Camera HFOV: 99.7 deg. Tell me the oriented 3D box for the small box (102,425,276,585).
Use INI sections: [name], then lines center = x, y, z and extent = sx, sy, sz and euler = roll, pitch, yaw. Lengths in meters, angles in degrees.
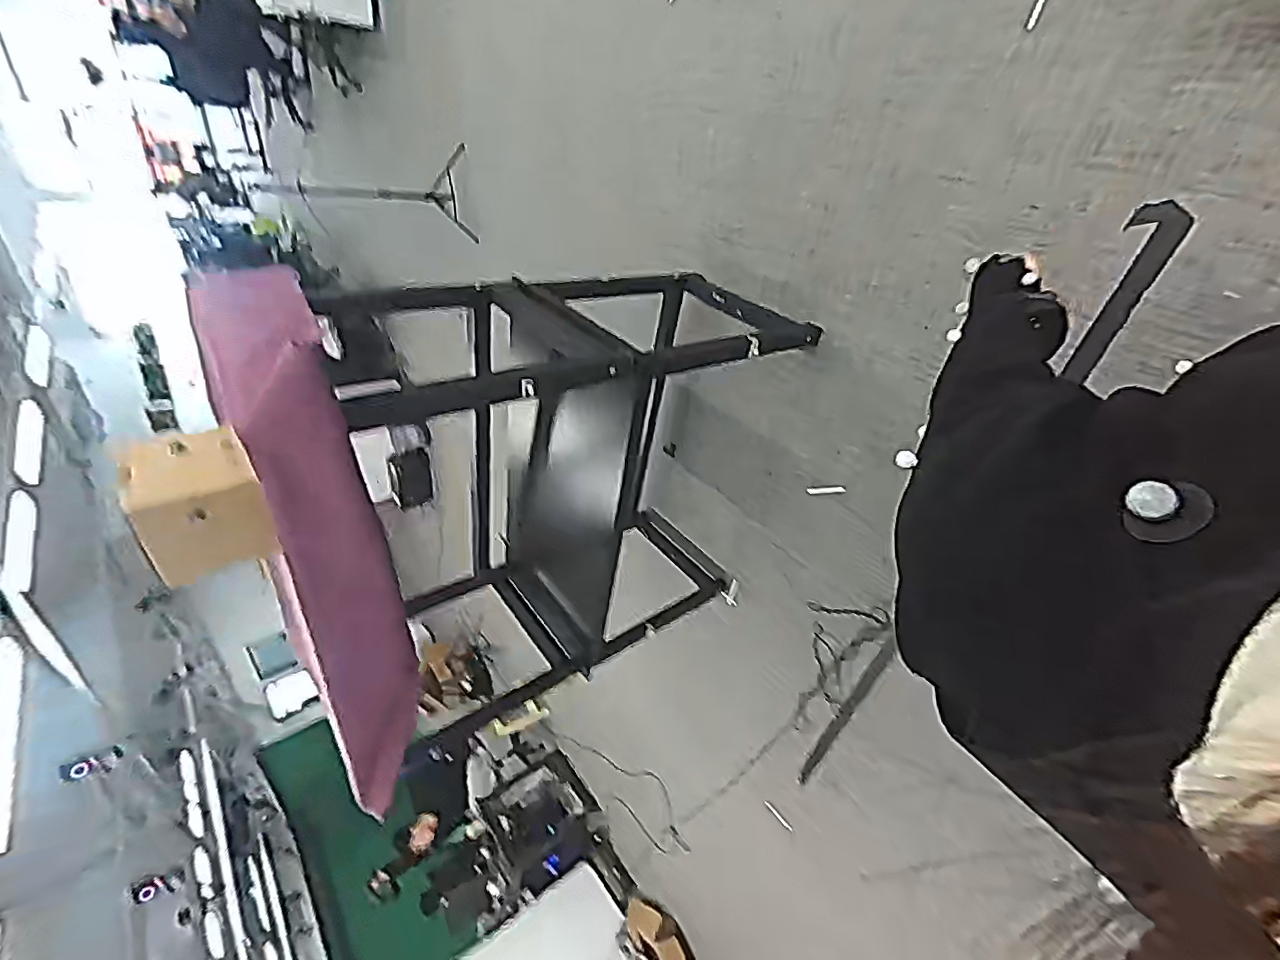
[small box]
center = -0.726, 0.032, 0.883
extent = 0.168, 0.176, 0.179
euler = 46, 139, 32
